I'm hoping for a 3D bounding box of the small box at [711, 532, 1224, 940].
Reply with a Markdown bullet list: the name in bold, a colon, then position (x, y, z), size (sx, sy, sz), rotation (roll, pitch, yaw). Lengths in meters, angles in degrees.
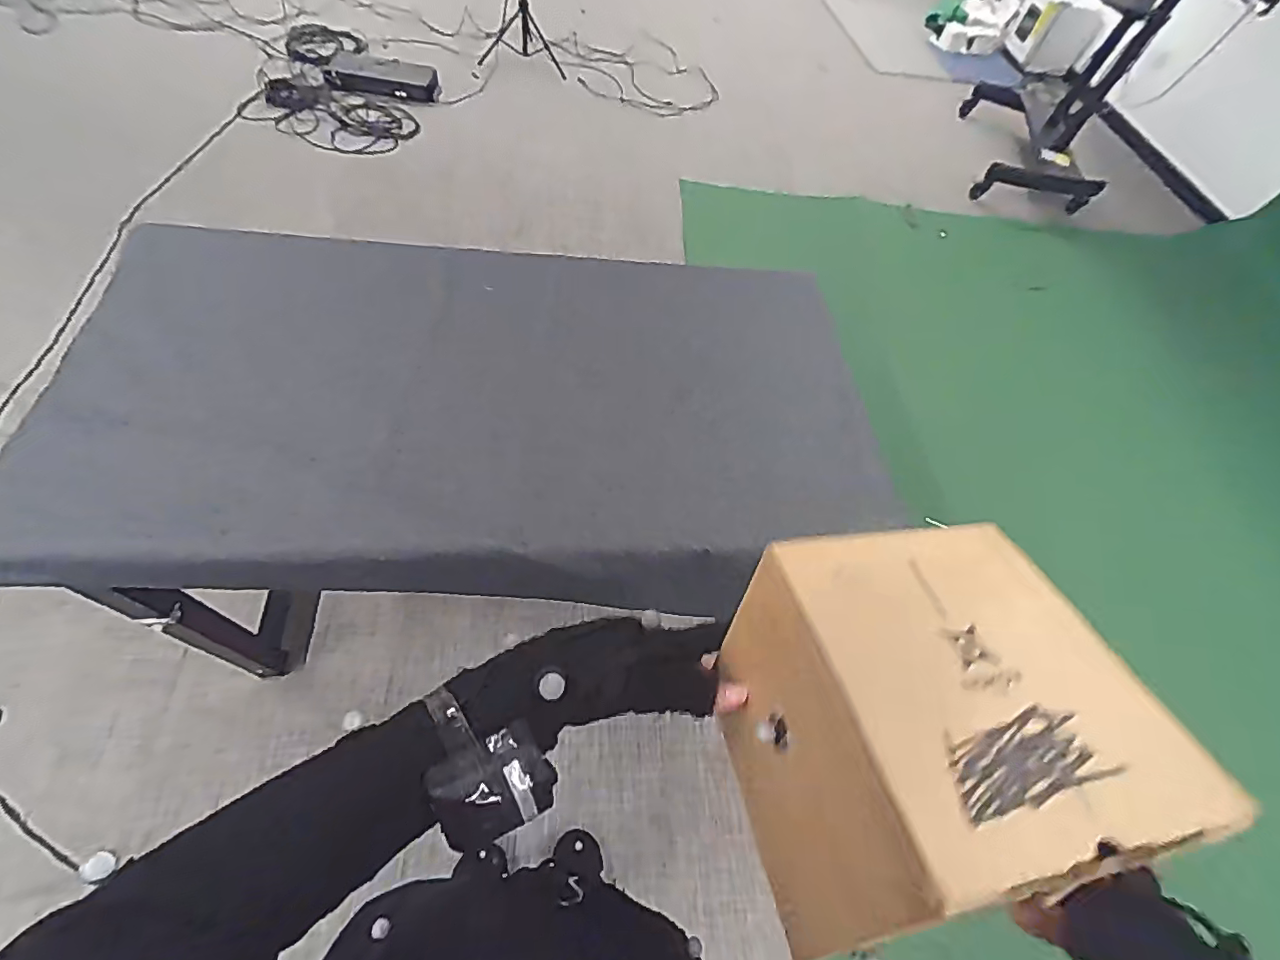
- **small box**: position (0.159, 0.156, 0.337), size (0.168, 0.176, 0.179), rotation (-2, 43, -14)
